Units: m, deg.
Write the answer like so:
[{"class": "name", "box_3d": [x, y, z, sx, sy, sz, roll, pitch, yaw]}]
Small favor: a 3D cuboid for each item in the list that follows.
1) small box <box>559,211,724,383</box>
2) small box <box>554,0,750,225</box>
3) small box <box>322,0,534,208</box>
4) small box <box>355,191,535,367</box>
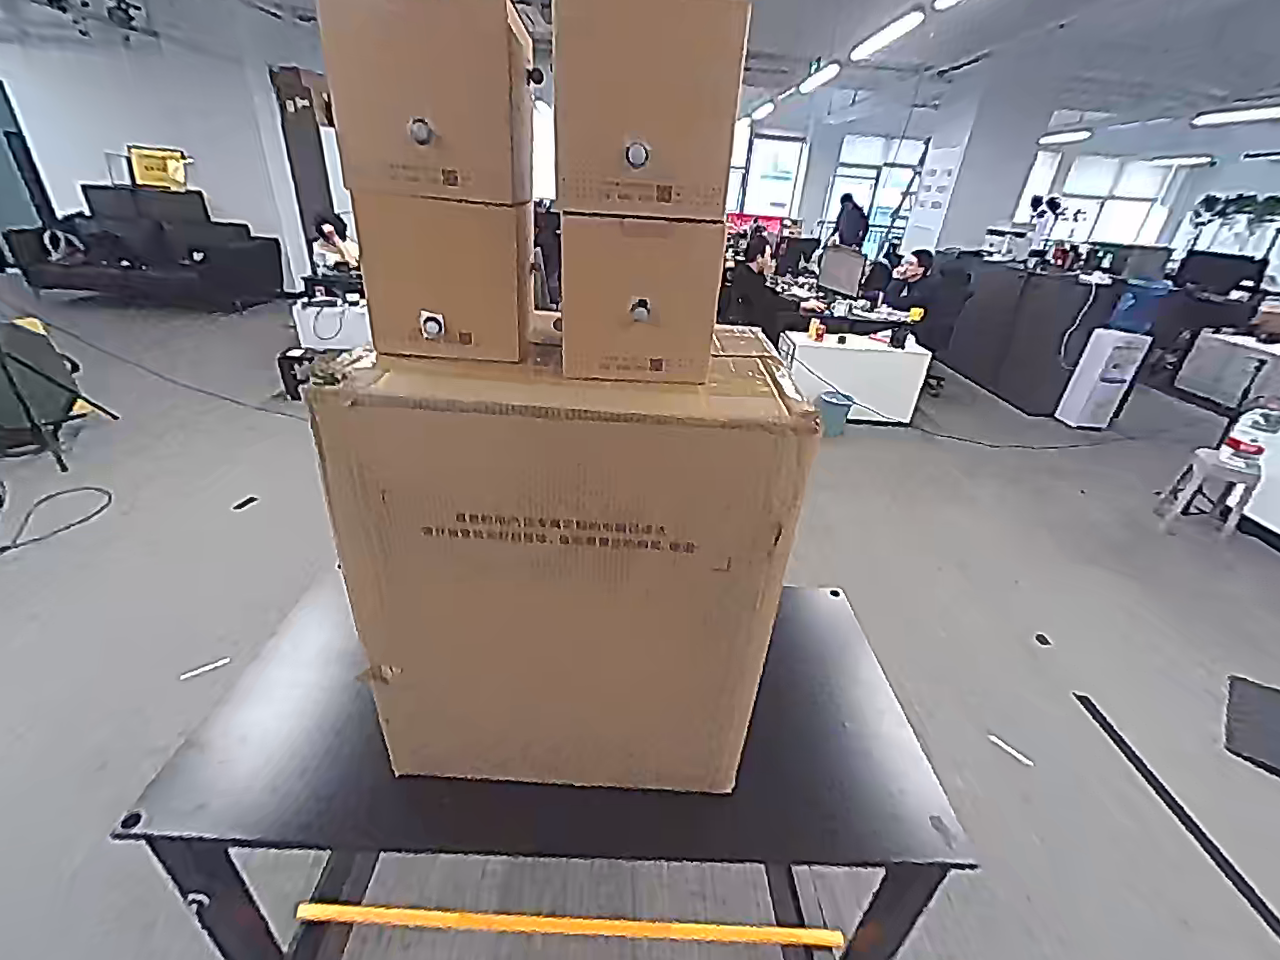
[{"class": "small box", "box_3d": [-0.003, -0.220, 0.635, 0.168, 0.176, 0.179, 1, 30, -4]}, {"class": "small box", "box_3d": [0.004, -0.362, 0.549, 0.168, 0.176, 0.179, 2, 30, -2]}, {"class": "small box", "box_3d": [-0.206, -0.391, 0.572, 0.168, 0.176, 0.179, 2, 29, -5]}, {"class": "small box", "box_3d": [-0.217, -0.247, 0.653, 0.168, 0.176, 0.179, 1, 30, -7]}]
